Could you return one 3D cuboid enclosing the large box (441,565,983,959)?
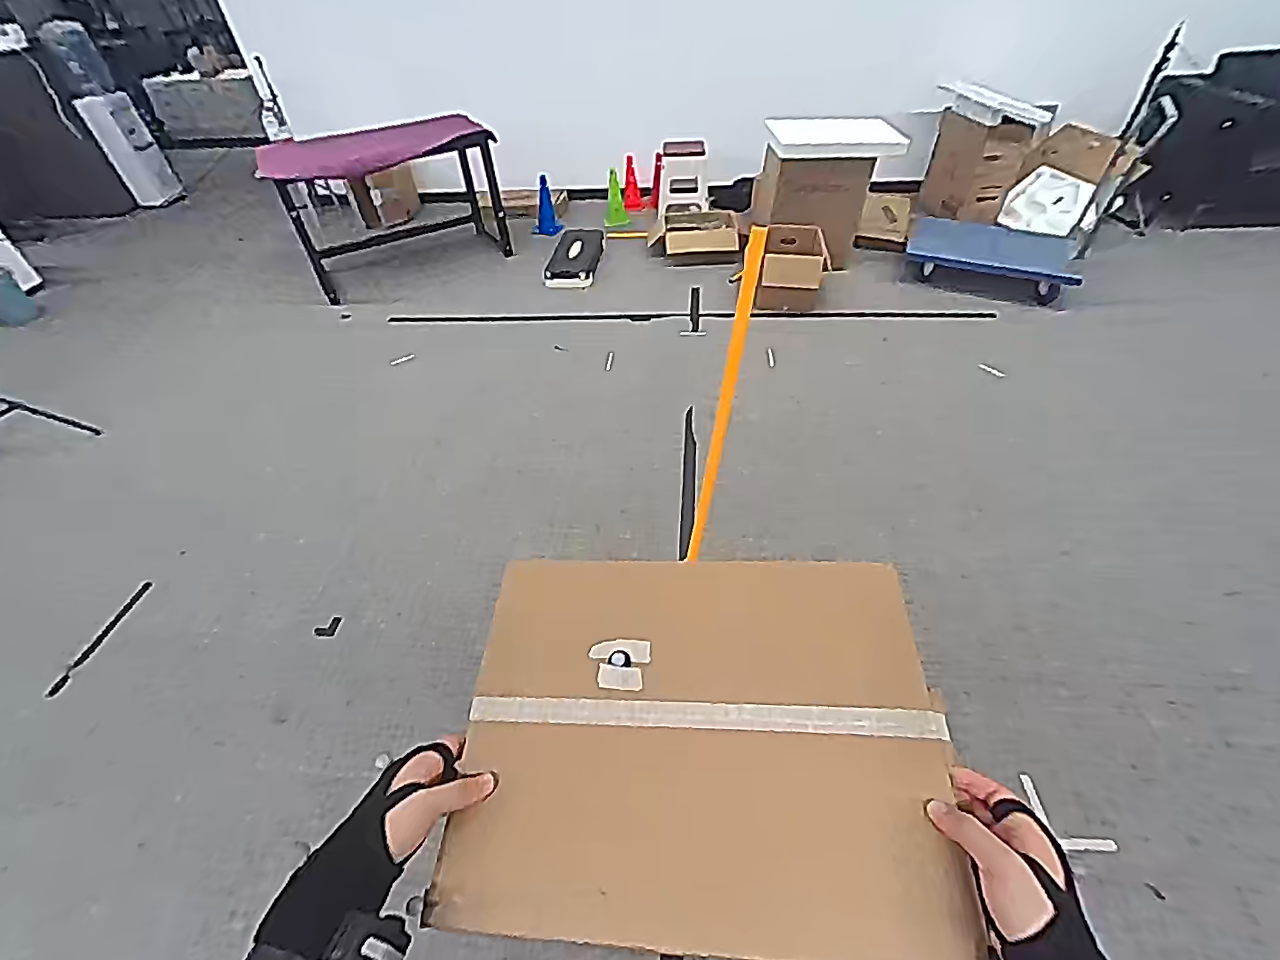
[{"bbox_3d":[0.069,0.309,0.599,0.408,0.320,0.320,-3,51,9],"label":"large box"}]
